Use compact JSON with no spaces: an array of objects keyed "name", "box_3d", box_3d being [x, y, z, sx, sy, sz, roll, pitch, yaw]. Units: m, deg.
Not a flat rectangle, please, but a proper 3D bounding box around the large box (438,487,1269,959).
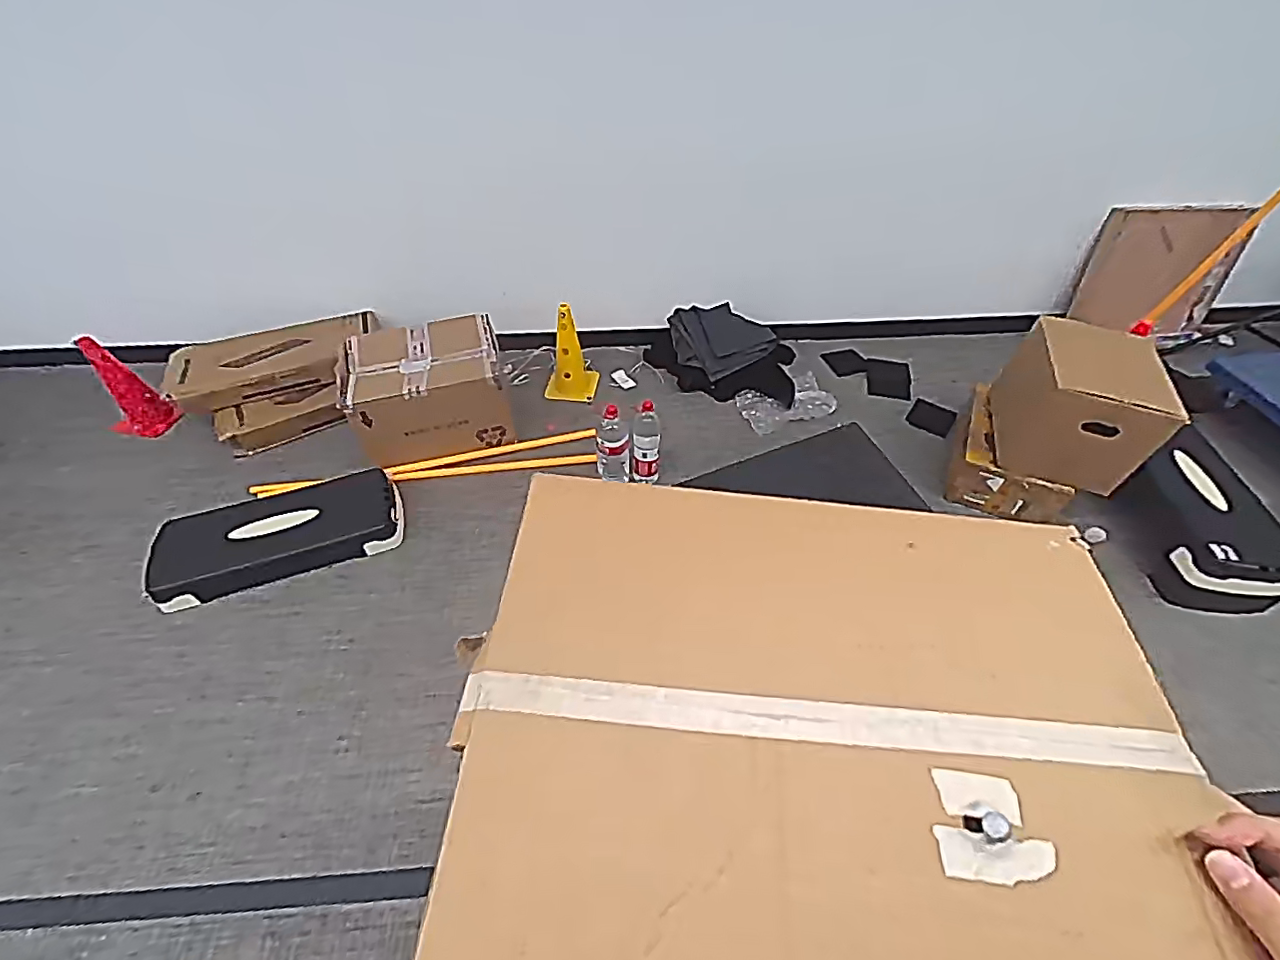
[{"name":"large box","box_3d":[0.099,0.234,0.431,0.408,0.320,0.320,7,52,-2]}]
